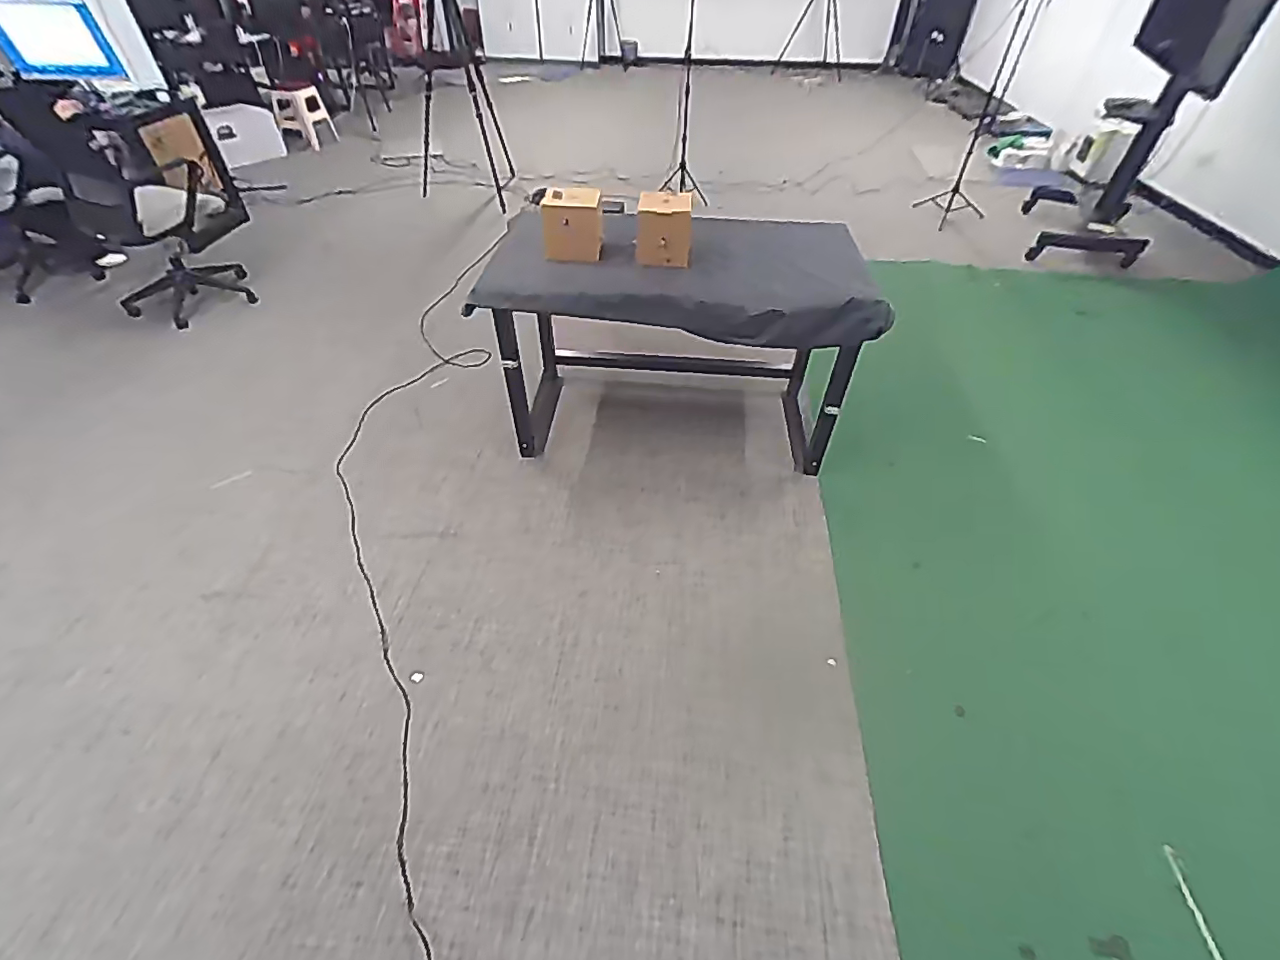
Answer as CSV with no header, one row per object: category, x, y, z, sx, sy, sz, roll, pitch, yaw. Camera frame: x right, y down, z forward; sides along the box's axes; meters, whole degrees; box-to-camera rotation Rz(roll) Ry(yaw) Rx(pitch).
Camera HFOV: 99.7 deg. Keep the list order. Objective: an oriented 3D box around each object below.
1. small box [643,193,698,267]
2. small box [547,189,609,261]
small box,0.097,-0.801,1.737,0.168,0.176,0.179,4,46,3
small box,-0.194,-0.826,1.753,0.179,0.176,0.168,4,46,1
